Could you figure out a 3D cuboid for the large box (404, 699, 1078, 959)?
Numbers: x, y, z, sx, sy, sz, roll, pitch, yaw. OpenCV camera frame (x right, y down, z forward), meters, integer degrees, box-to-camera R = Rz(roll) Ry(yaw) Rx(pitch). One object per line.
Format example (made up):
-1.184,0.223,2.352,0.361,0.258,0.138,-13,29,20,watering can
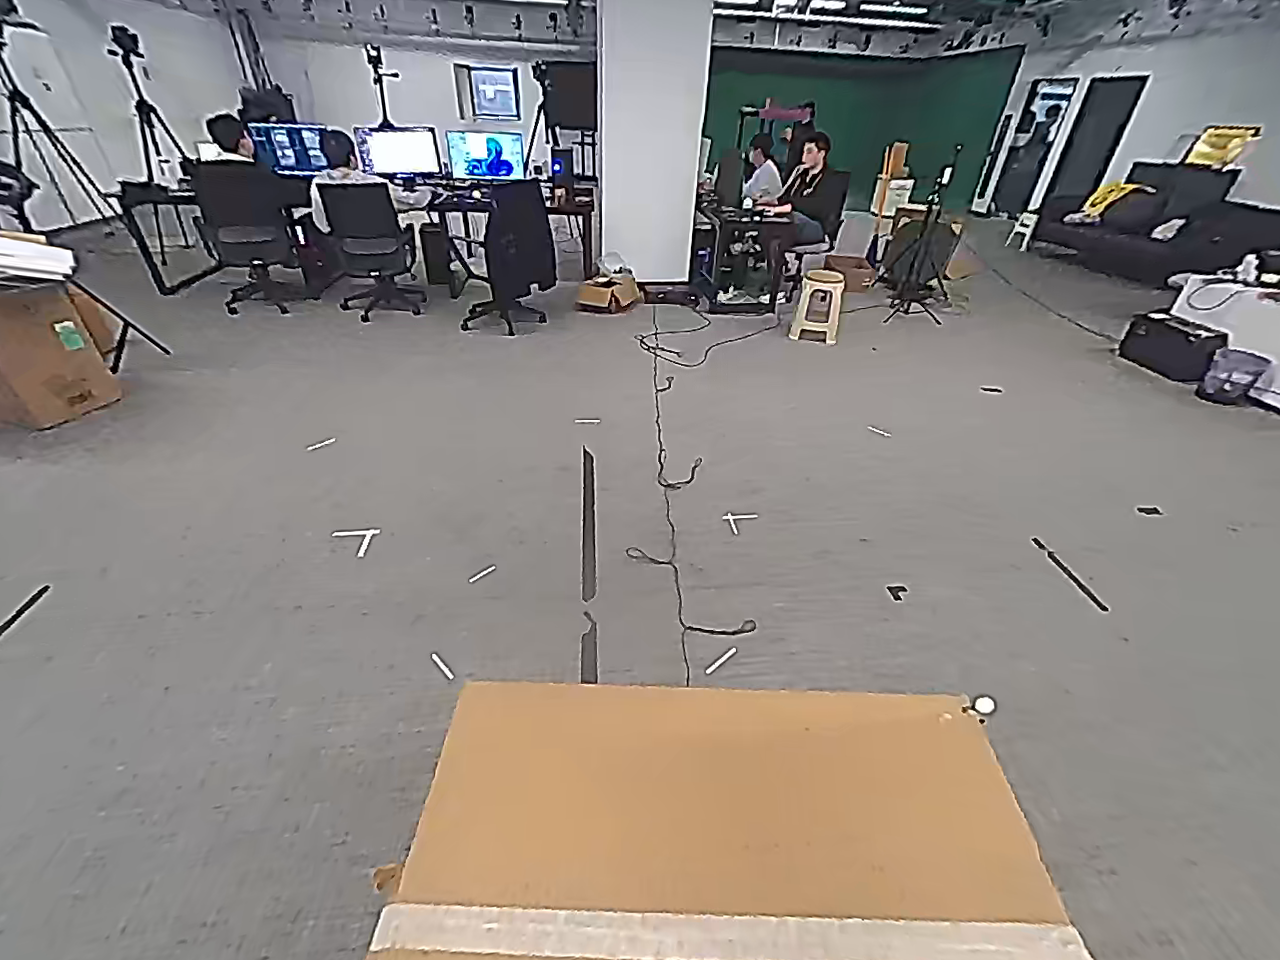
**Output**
0.057,0.392,0.415,0.408,0.320,0.320,1,40,1,large box
